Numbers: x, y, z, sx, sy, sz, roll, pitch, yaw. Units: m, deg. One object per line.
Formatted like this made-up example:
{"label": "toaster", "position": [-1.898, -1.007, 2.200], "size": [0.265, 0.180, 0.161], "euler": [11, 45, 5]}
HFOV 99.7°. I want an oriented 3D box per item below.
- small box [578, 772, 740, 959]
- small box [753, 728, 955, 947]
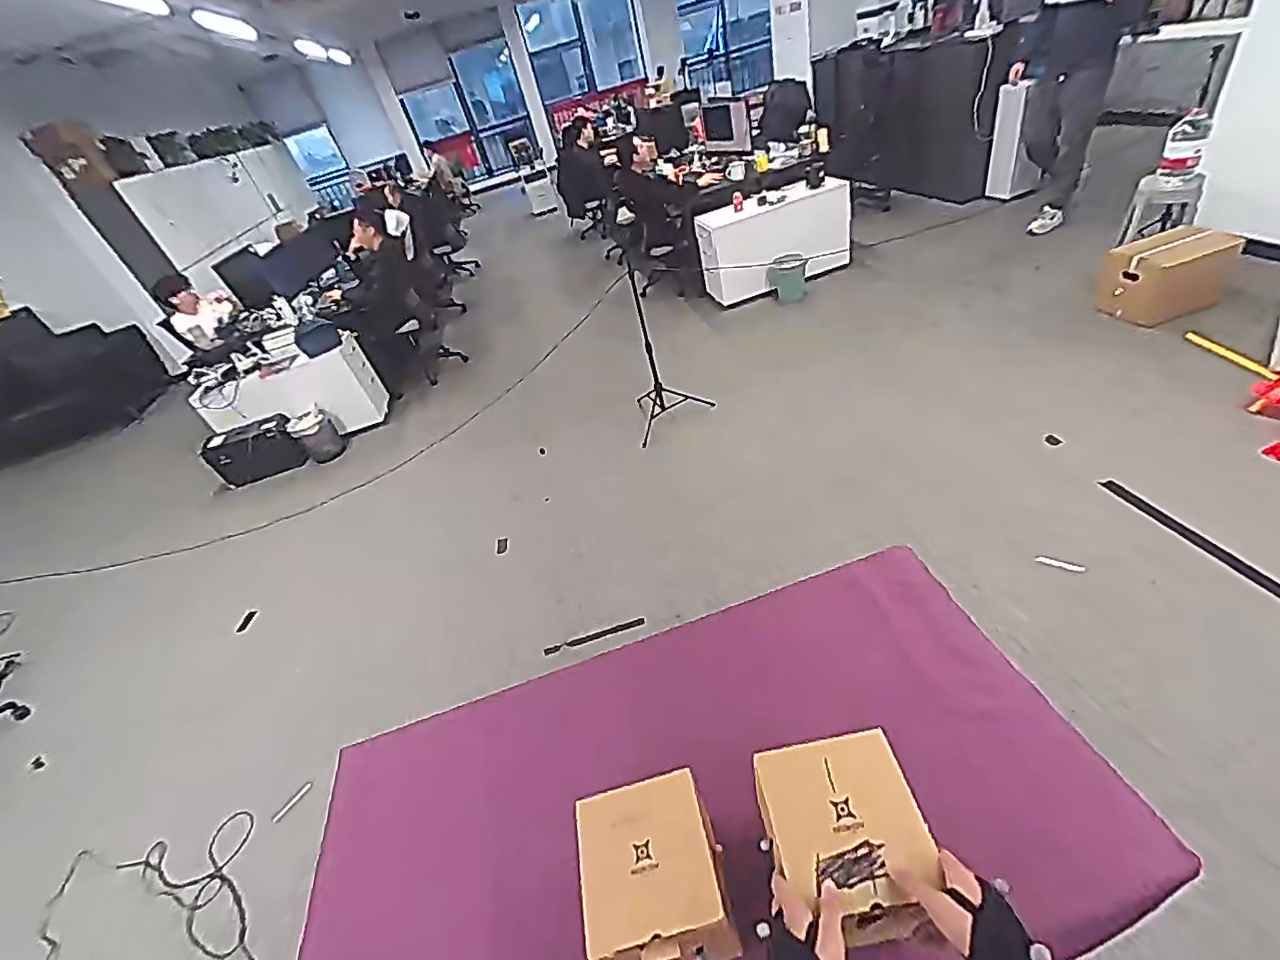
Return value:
{"label": "small box", "position": [0.025, 0.532, 0.721], "size": [0.168, 0.176, 0.179], "euler": [-17, 37, 0]}
{"label": "small box", "position": [0.244, 0.437, 0.657], "size": [0.168, 0.176, 0.179], "euler": [-12, 40, 2]}
